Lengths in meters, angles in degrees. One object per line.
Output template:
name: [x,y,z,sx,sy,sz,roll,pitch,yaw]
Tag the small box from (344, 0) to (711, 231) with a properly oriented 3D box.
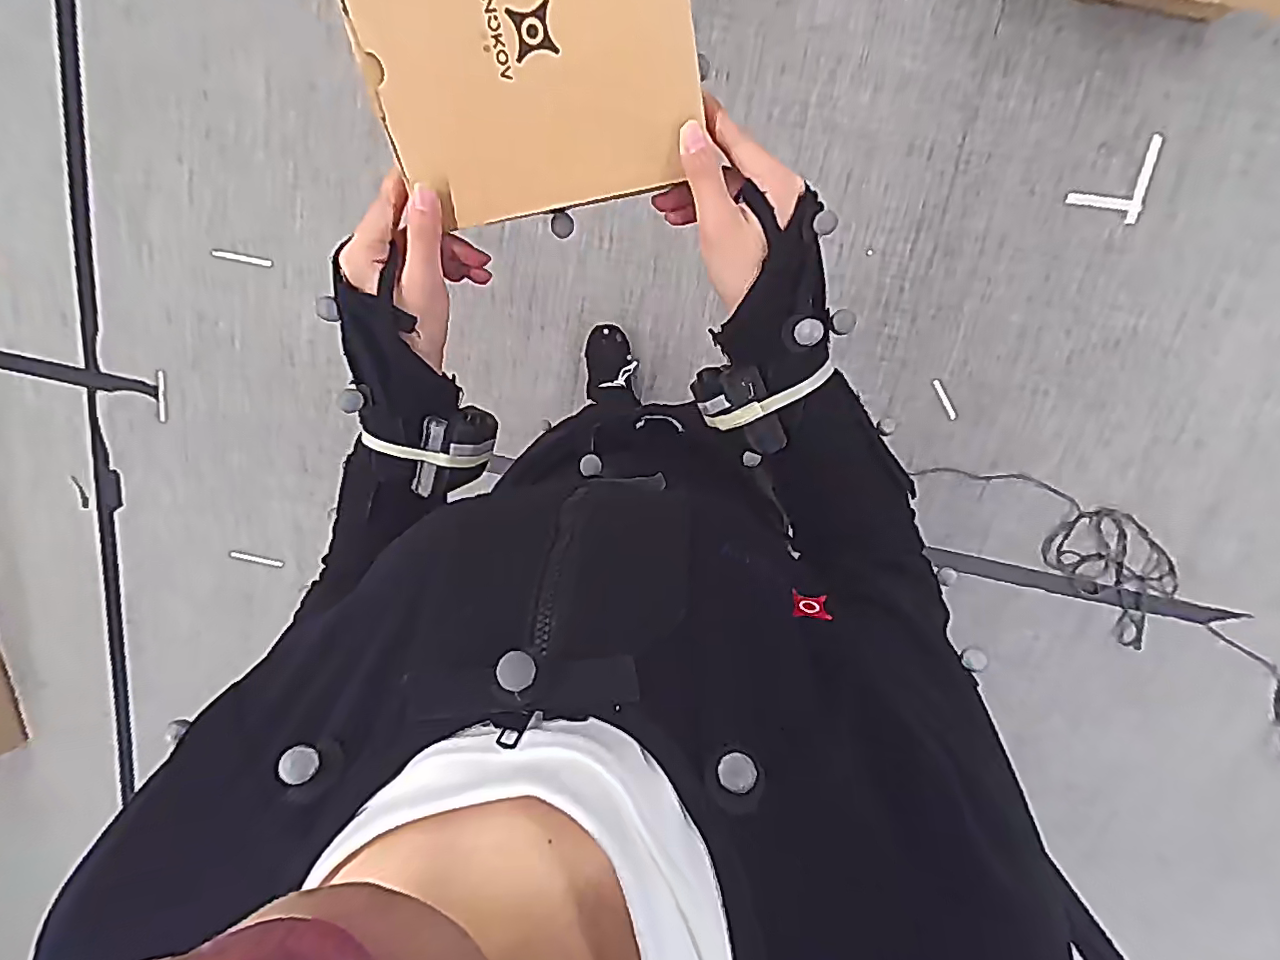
small box: [-0.059,-0.270,0.347,0.179,0.176,0.168,-10,118,5]
